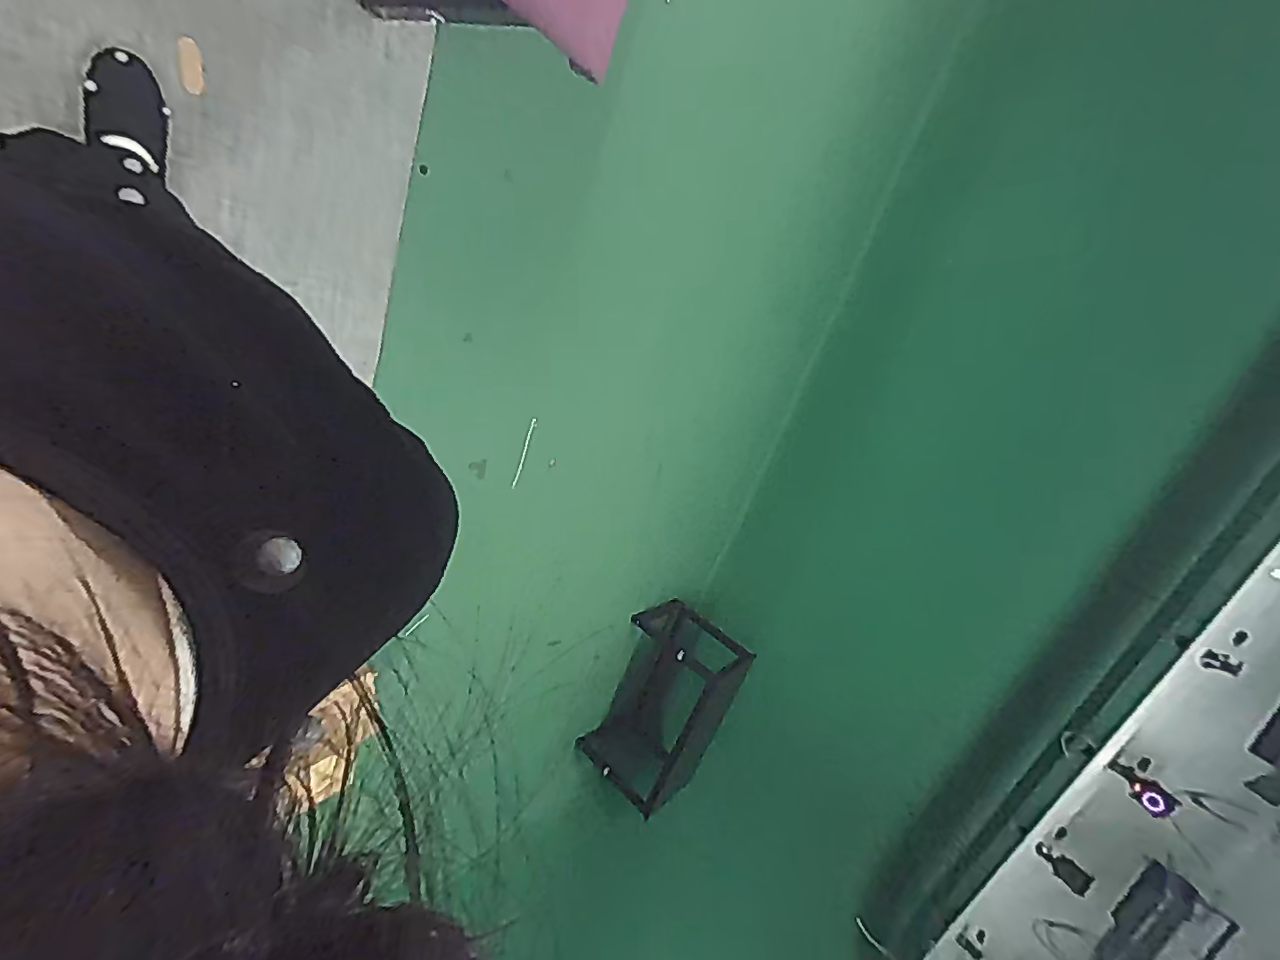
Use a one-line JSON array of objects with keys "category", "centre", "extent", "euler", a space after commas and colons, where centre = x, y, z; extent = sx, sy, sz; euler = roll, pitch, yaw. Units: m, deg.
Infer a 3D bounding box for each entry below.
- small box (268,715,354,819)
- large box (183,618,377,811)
[{"category": "small box", "centre": [-0.945, 0.809, 1.551], "extent": [0.168, 0.176, 0.179], "euler": [-17, 130, -47]}, {"category": "large box", "centre": [-1.117, 0.717, 1.709], "extent": [0.408, 0.320, 0.320], "euler": [-25, 137, -45]}]
